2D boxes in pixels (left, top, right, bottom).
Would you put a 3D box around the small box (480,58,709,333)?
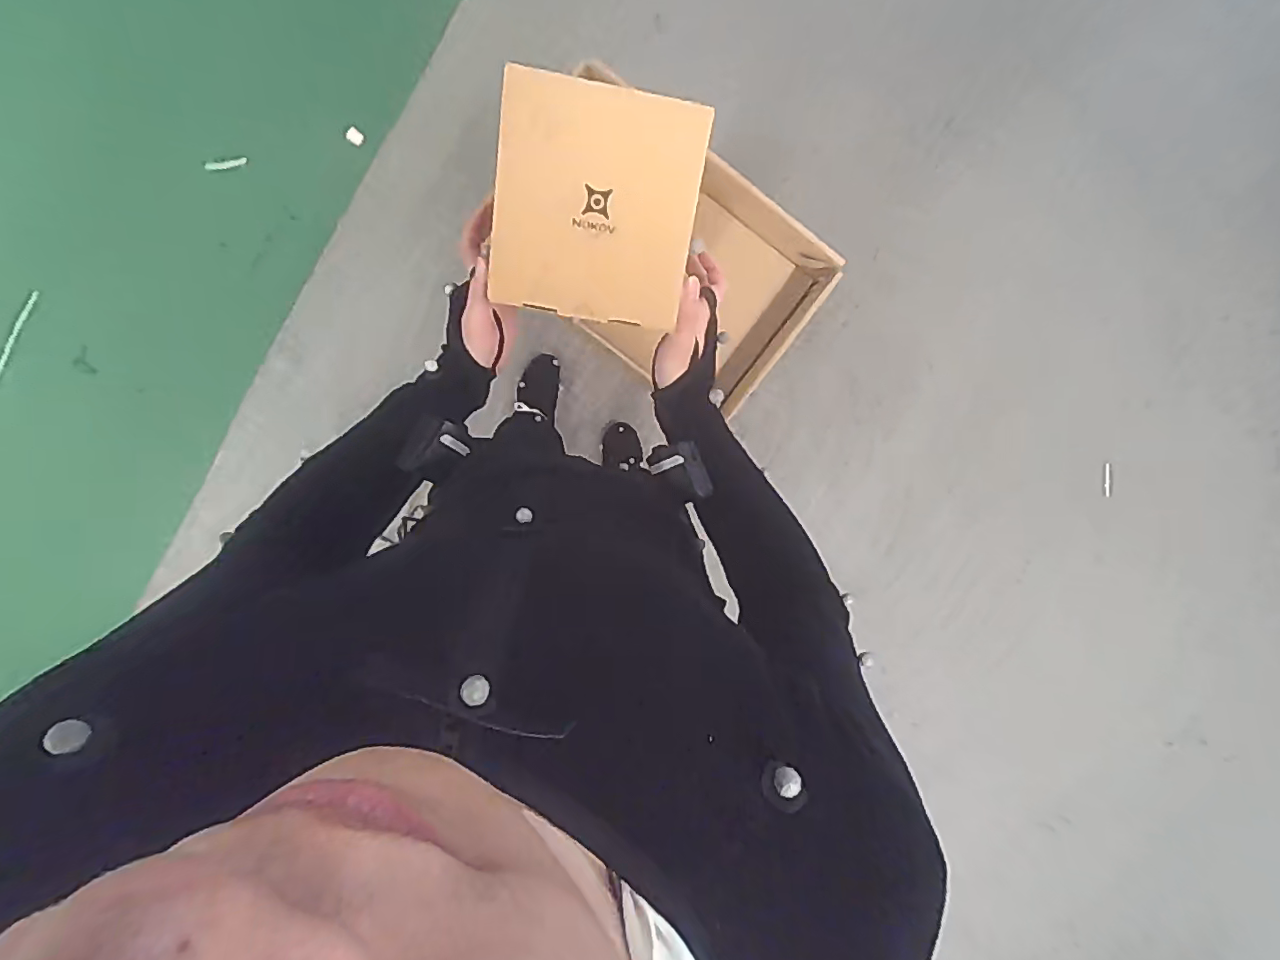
[{"bbox_3d":[-0.045,-0.245,0.508,0.168,0.176,0.179,8,109,-6],"label":"small box"}]
